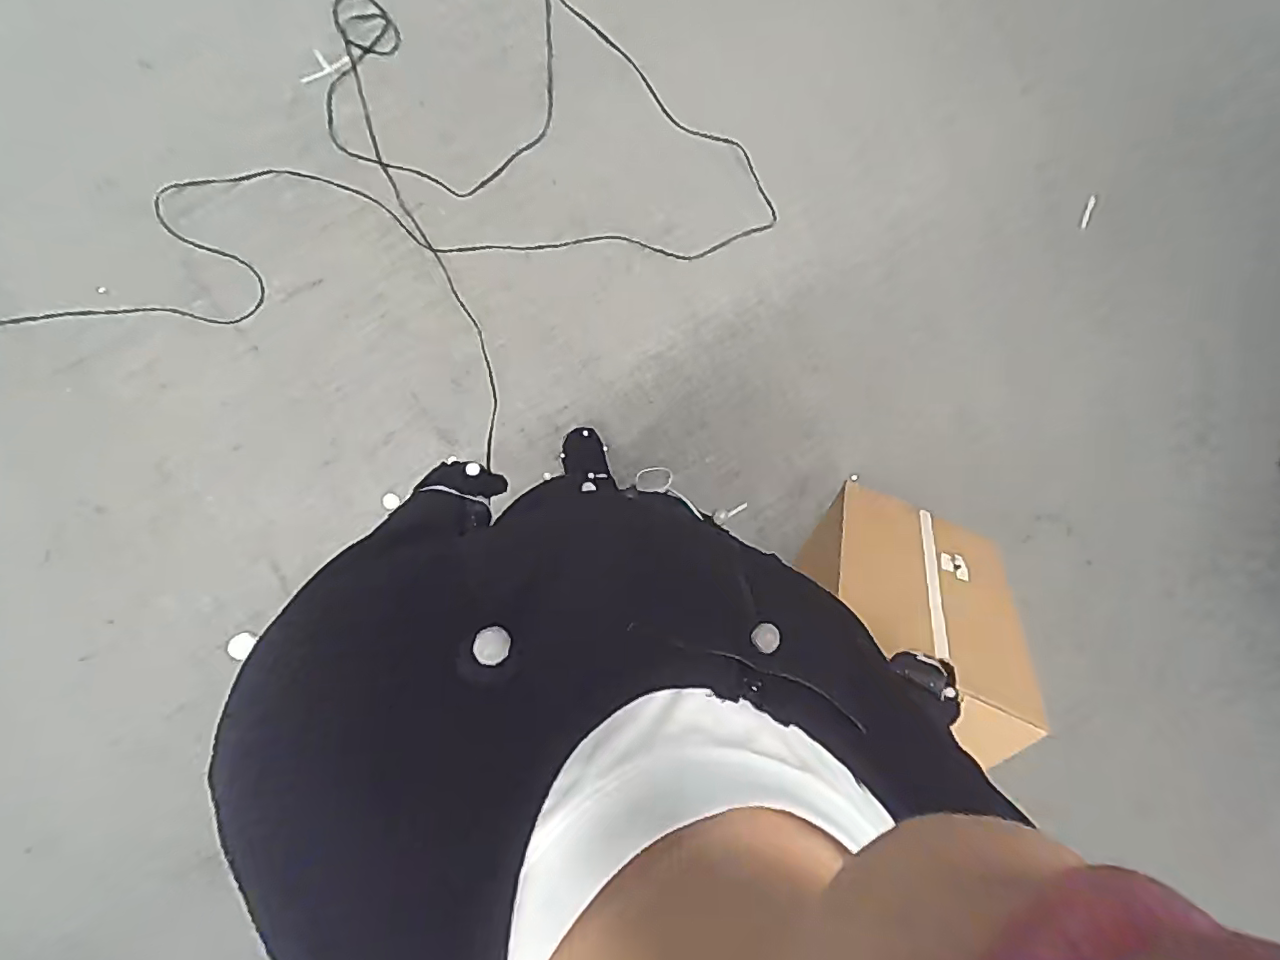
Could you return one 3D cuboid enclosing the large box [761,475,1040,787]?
[{"bbox_3d":[0.446,0.267,1.012,0.320,0.408,0.320,24,130,5],"label":"large box"}]
